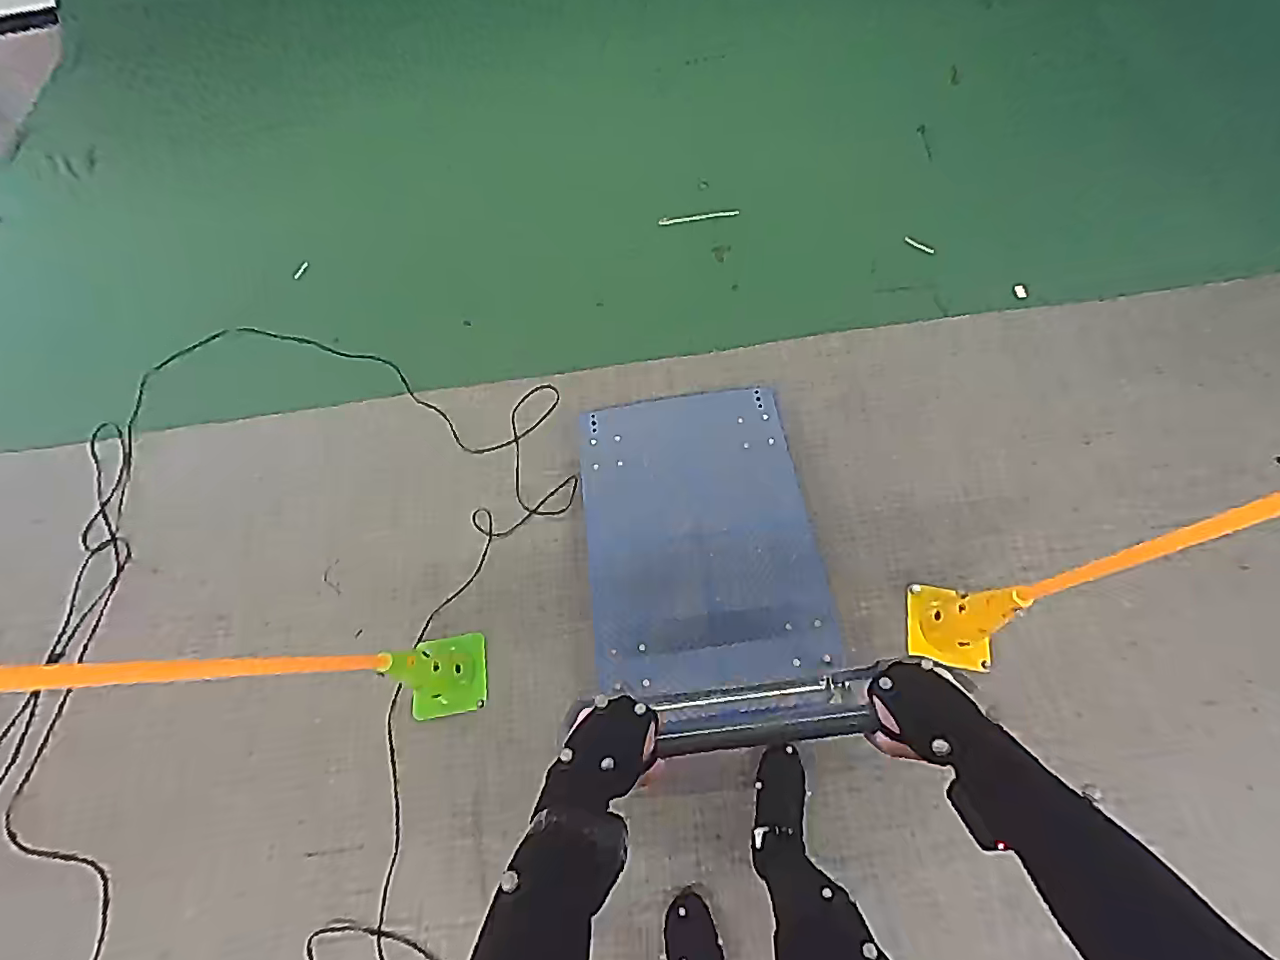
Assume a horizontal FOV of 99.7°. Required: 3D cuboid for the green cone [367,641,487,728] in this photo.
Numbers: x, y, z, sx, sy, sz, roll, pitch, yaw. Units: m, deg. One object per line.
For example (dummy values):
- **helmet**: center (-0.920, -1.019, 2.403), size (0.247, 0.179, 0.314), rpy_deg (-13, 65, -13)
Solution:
- **green cone**: center (-0.533, 0.474, 1.300), size (0.202, 0.368, 0.200), rpy_deg (-12, 64, 2)
